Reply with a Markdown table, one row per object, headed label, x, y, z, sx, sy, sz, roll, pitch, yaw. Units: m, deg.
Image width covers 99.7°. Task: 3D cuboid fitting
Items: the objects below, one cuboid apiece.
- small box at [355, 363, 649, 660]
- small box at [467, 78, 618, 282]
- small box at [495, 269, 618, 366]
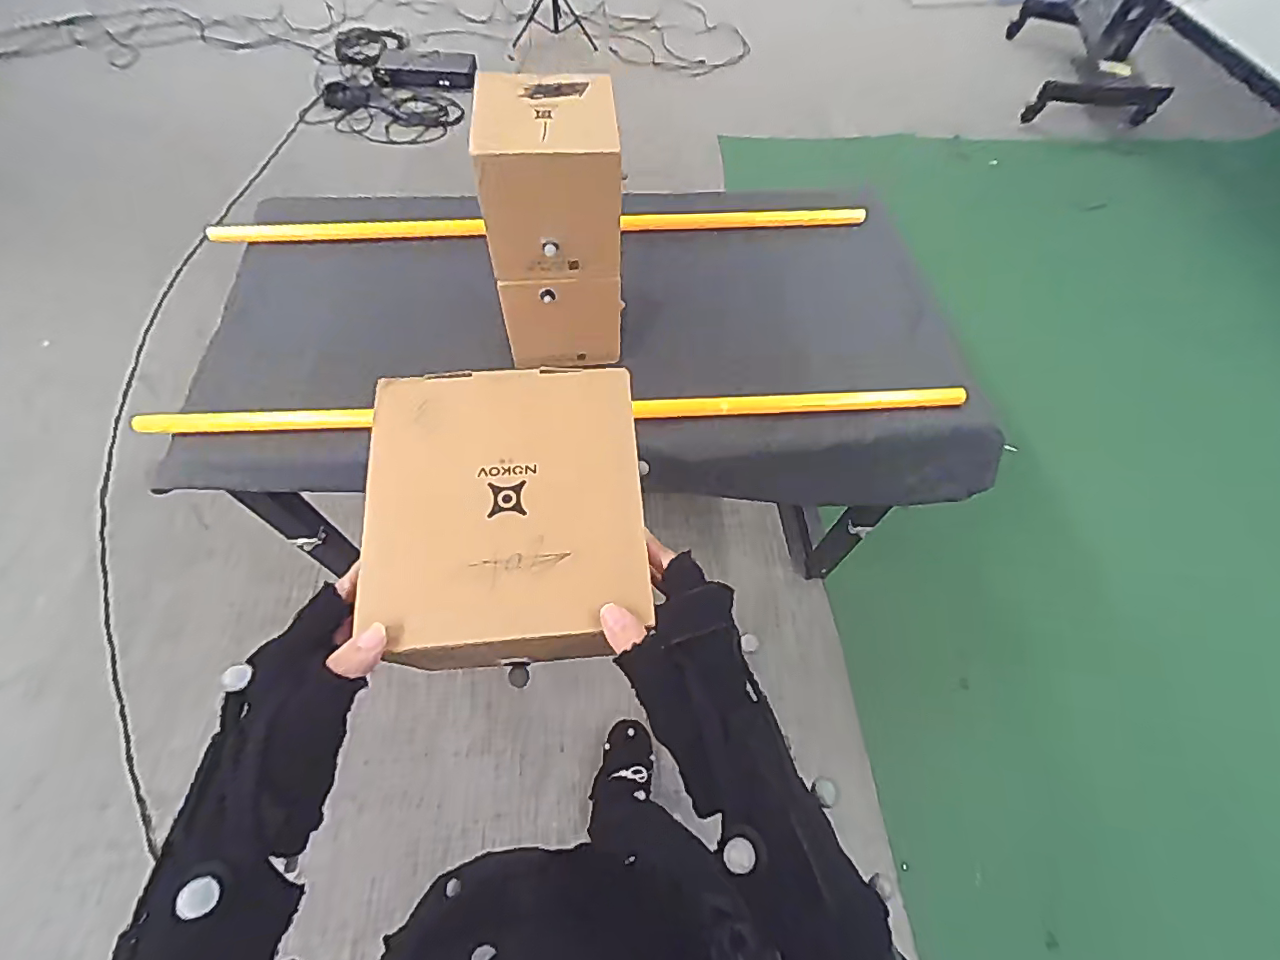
| label | x | y | z | sx | sy | sz | roll | pitch | yaw |
| --- | --- | --- | --- | --- | --- | --- | --- | --- | --- |
| small box | -0.088 | 0.032 | 0.408 | 0.168 | 0.176 | 0.179 | -3 | 68 | -6 |
| small box | -0.117 | -0.381 | 0.697 | 0.168 | 0.176 | 0.179 | -3 | 60 | -5 |
| small box | -0.124 | -0.294 | 0.837 | 0.168 | 0.176 | 0.179 | -5 | 59 | -5 |
